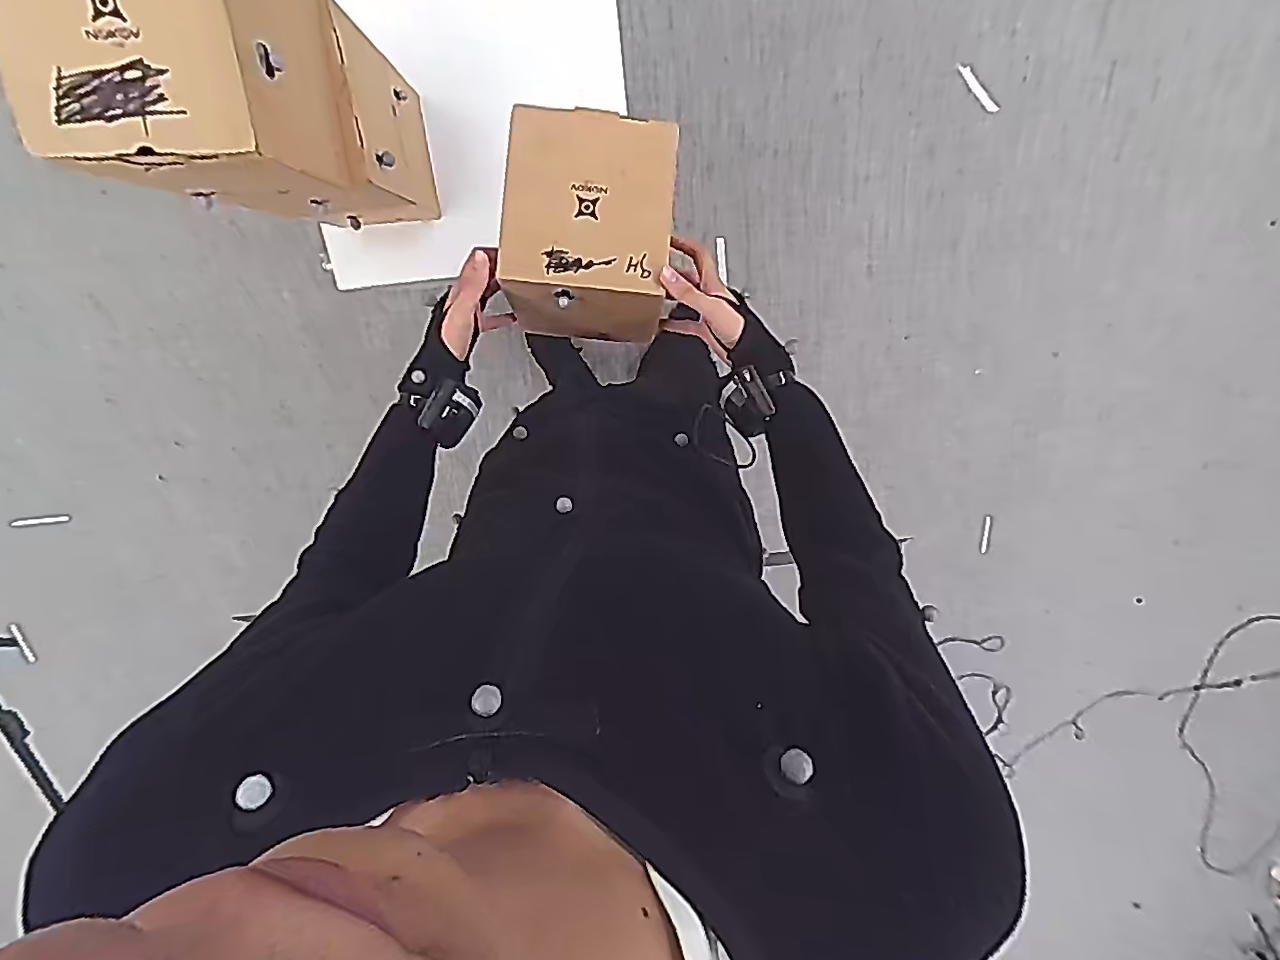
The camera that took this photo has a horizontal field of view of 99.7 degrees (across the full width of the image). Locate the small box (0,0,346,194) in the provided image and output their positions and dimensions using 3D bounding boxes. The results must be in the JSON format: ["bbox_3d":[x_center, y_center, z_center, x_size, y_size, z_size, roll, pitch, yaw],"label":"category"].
[{"bbox_3d":[-0.375,-0.346,0.452,0.168,0.176,0.179,-4,109,-4],"label":"small box"}]

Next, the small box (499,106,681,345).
[{"bbox_3d":[-0.052,-0.267,0.604,0.168,0.176,0.179,5,87,-3],"label":"small box"}]

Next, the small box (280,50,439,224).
[{"bbox_3d":[-0.397,-0.463,0.759,0.168,0.176,0.179,-7,110,-4],"label":"small box"}]
